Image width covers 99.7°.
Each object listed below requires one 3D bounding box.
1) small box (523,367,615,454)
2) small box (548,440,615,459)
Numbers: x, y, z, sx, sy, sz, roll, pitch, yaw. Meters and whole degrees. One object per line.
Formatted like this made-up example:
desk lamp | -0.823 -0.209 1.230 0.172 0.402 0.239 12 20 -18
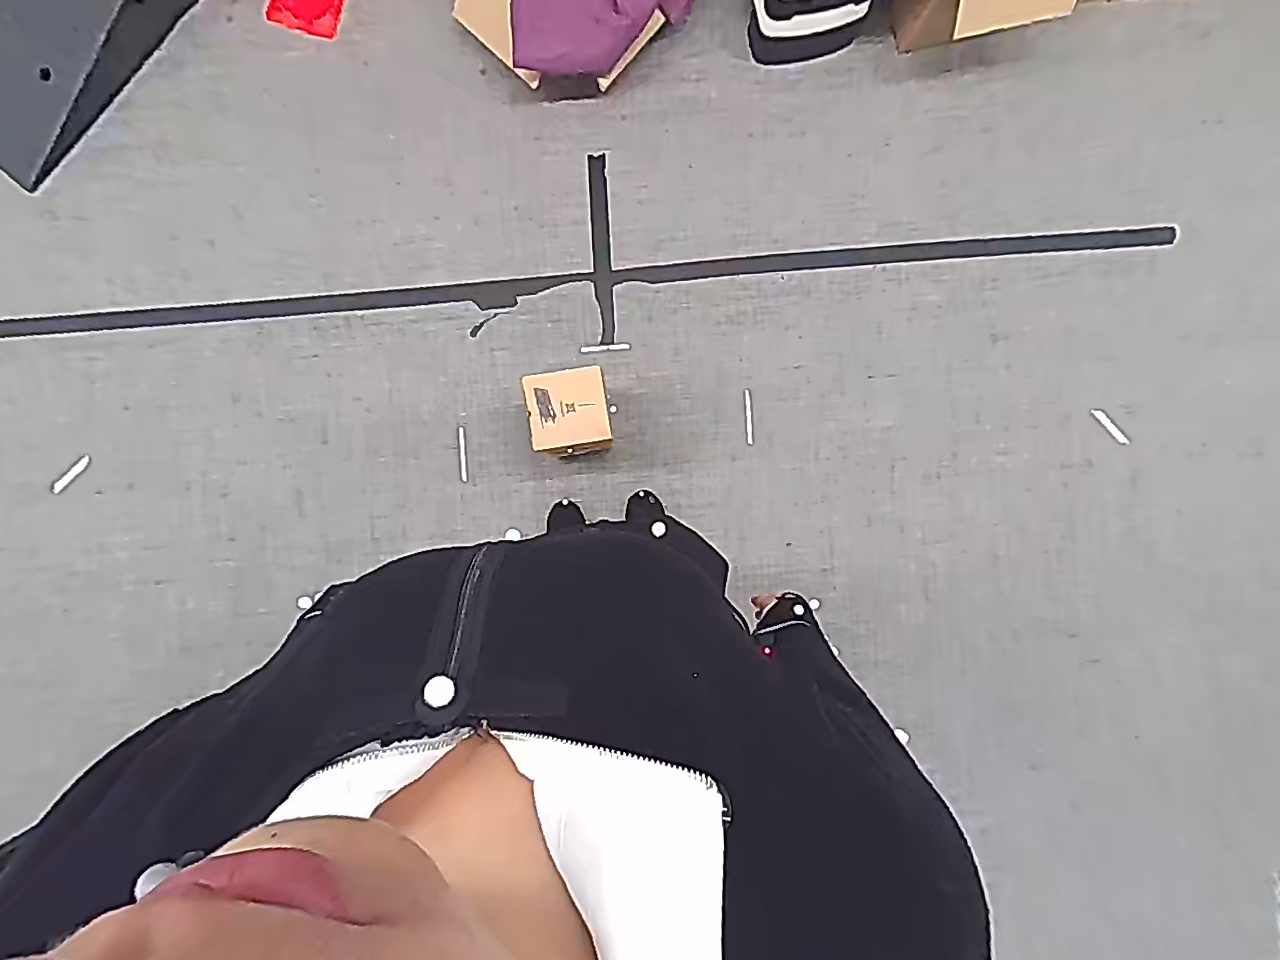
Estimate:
small box | -0.158 -0.154 1.253 0.179 0.176 0.168 -9 91 0
small box | -0.163 -0.154 1.418 0.168 0.176 0.179 -11 92 1
